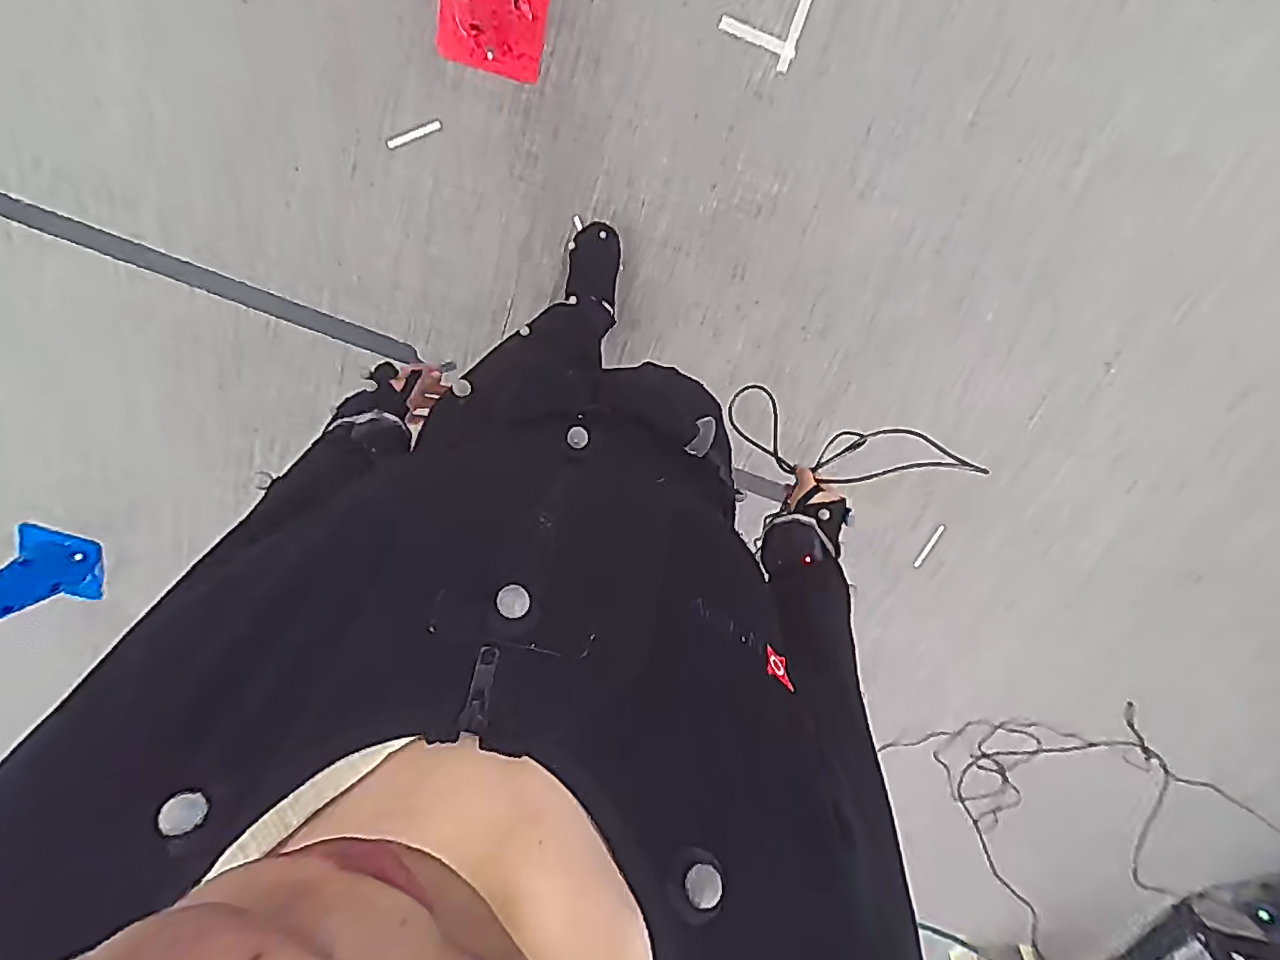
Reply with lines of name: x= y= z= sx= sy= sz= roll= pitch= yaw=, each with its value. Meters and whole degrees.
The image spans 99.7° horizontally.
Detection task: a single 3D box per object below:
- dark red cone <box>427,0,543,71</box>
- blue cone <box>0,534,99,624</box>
dark red cone: x=-0.275 y=-0.817 z=0.838 sx=0.202 sy=0.394 sz=0.201 roll=12 pitch=113 yaw=-6
blue cone: x=-1.553 y=0.303 z=1.297 sx=0.193 sy=0.380 sz=0.192 roll=20 pitch=112 yaw=-9
